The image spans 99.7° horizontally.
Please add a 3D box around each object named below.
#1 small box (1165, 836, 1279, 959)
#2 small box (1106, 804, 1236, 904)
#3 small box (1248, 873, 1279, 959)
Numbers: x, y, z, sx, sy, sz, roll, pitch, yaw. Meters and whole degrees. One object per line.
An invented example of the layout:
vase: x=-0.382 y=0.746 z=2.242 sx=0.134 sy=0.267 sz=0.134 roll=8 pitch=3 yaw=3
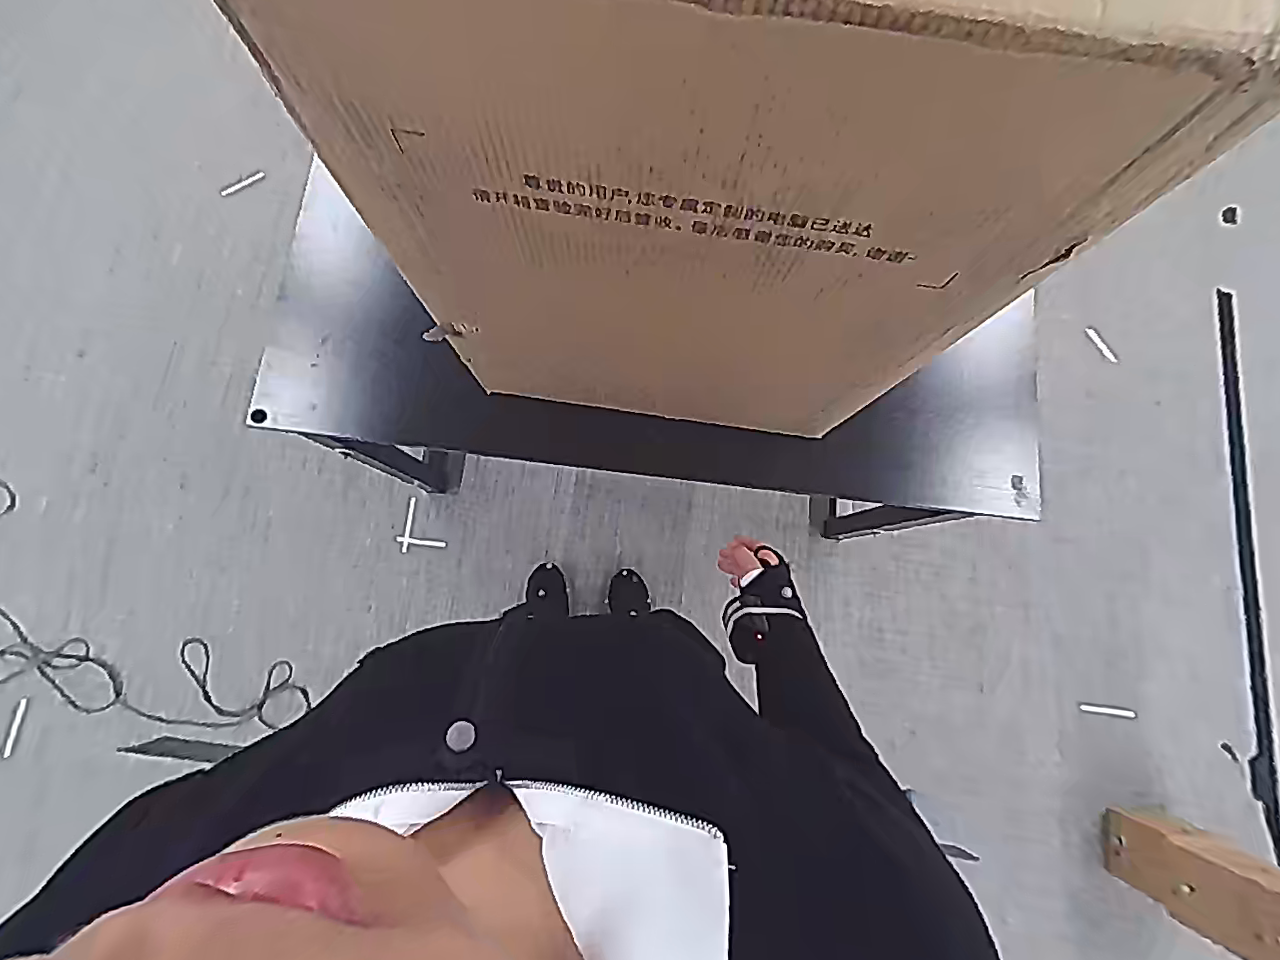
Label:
small box: x=1.328 y=0.921 z=1.196 sx=0.179 sy=0.176 sz=0.168 roll=8 pitch=79 yaw=-1
small box: x=1.330 y=0.943 z=1.360 sx=0.179 sy=0.176 sz=0.168 roll=7 pitch=79 yaw=0
small box: x=1.332 y=0.891 z=1.035 sx=0.179 sy=0.176 sz=0.168 roll=8 pitch=79 yaw=0
